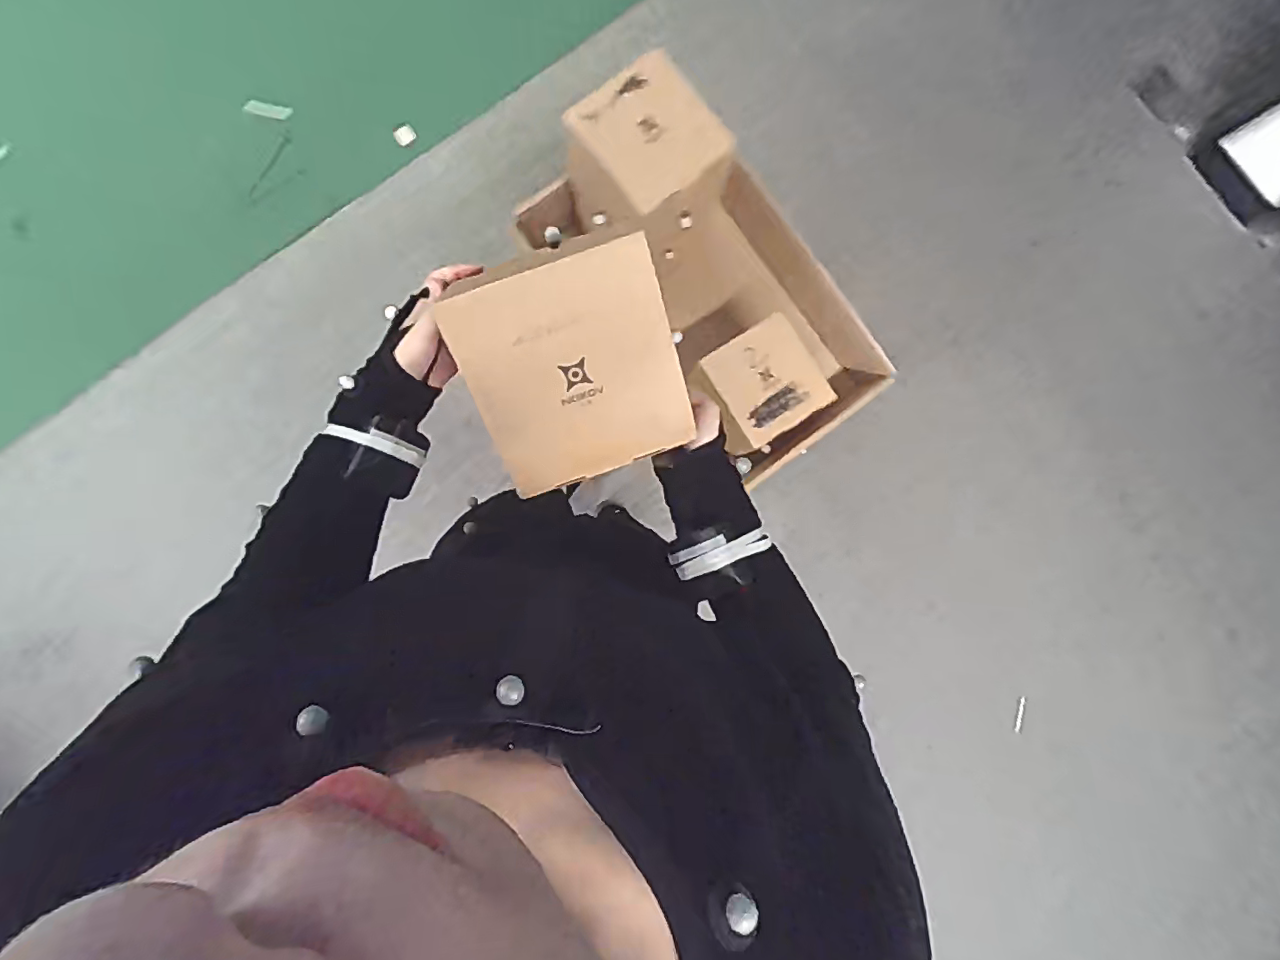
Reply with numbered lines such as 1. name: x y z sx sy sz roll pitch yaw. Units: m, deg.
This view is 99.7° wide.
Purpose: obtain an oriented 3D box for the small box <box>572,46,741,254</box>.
1. small box: 0.020 -0.467 0.802 0.168 0.176 0.179 -37 90 -3
